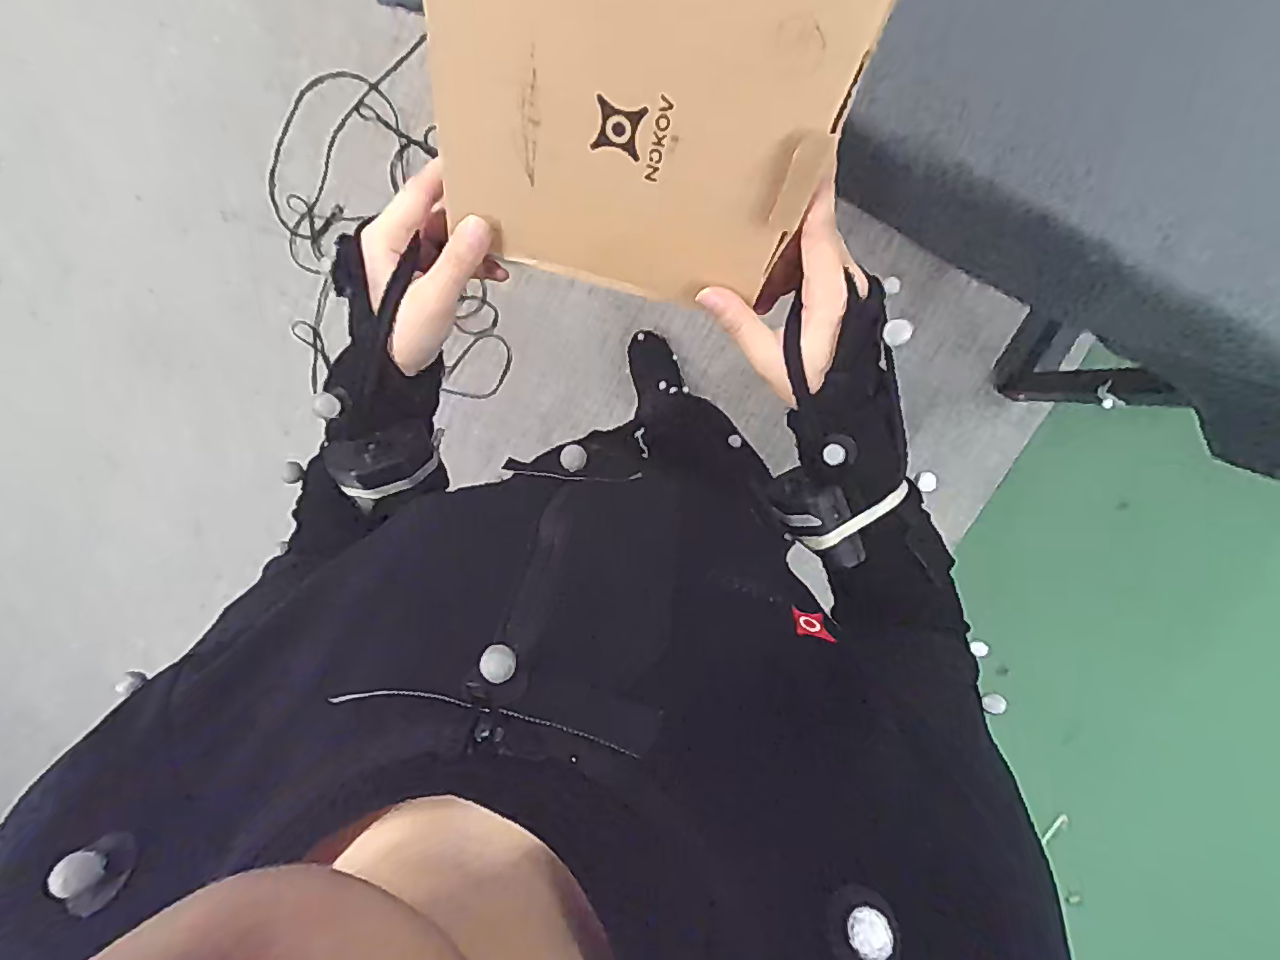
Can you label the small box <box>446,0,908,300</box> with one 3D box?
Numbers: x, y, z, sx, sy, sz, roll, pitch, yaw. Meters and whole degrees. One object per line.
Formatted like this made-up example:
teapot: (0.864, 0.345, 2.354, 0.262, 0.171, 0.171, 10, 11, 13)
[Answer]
small box: (0.015, -0.230, 0.282, 0.179, 0.176, 0.168, 14, 145, -4)
